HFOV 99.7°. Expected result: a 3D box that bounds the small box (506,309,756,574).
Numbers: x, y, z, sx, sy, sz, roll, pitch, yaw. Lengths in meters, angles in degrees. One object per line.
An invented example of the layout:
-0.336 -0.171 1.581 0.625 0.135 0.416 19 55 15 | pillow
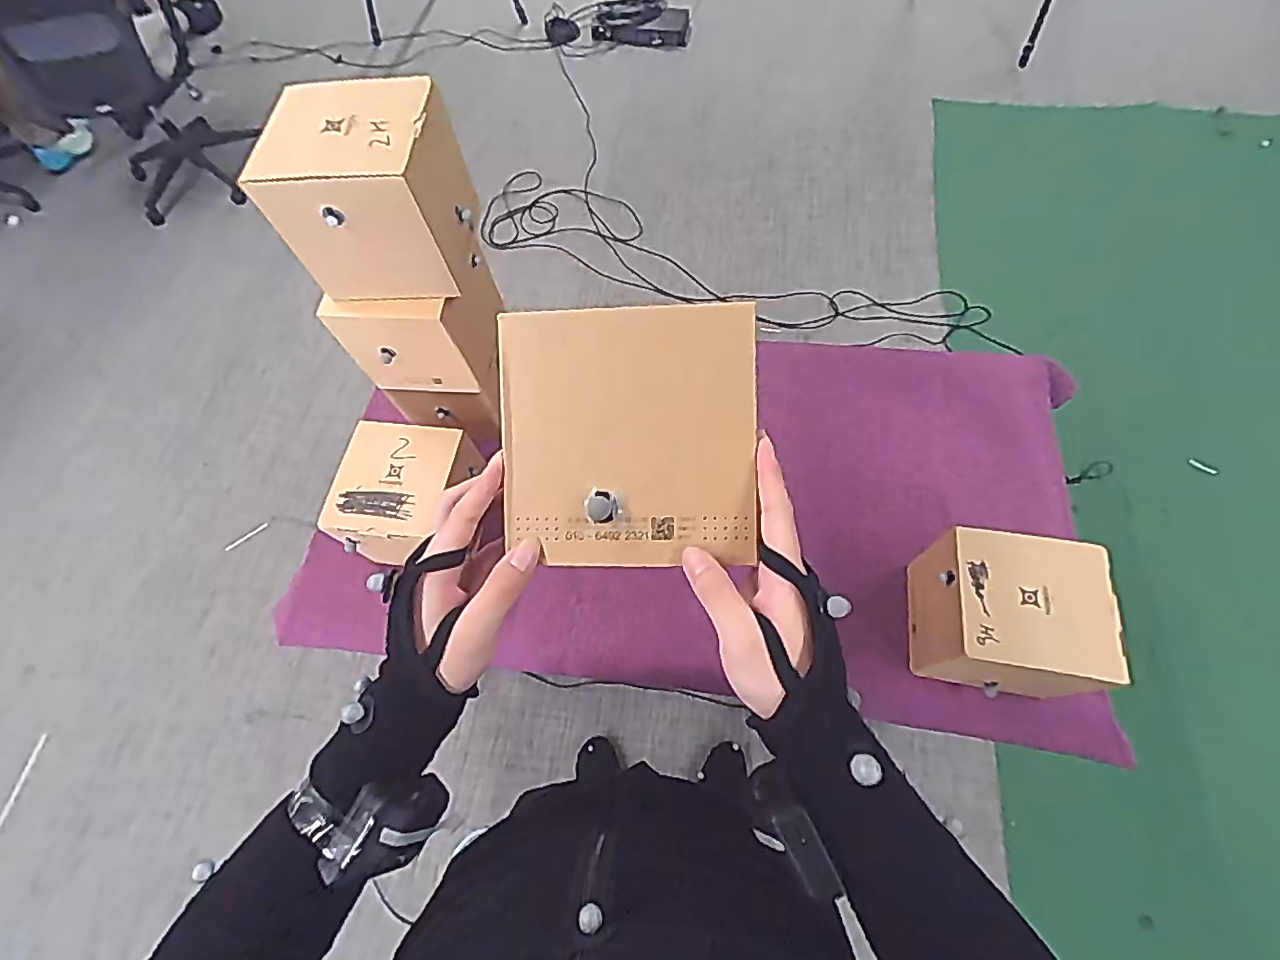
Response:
0.000 -0.026 0.430 0.168 0.179 0.176 -1 92 5 | small box

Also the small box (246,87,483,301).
-0.310 -0.334 0.651 0.179 0.176 0.168 0 65 3 | small box

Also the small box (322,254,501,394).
-0.315 -0.241 0.790 0.168 0.176 0.179 3 64 5 | small box

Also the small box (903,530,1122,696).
0.473 0.183 0.717 0.179 0.176 0.168 9 64 8 | small box
